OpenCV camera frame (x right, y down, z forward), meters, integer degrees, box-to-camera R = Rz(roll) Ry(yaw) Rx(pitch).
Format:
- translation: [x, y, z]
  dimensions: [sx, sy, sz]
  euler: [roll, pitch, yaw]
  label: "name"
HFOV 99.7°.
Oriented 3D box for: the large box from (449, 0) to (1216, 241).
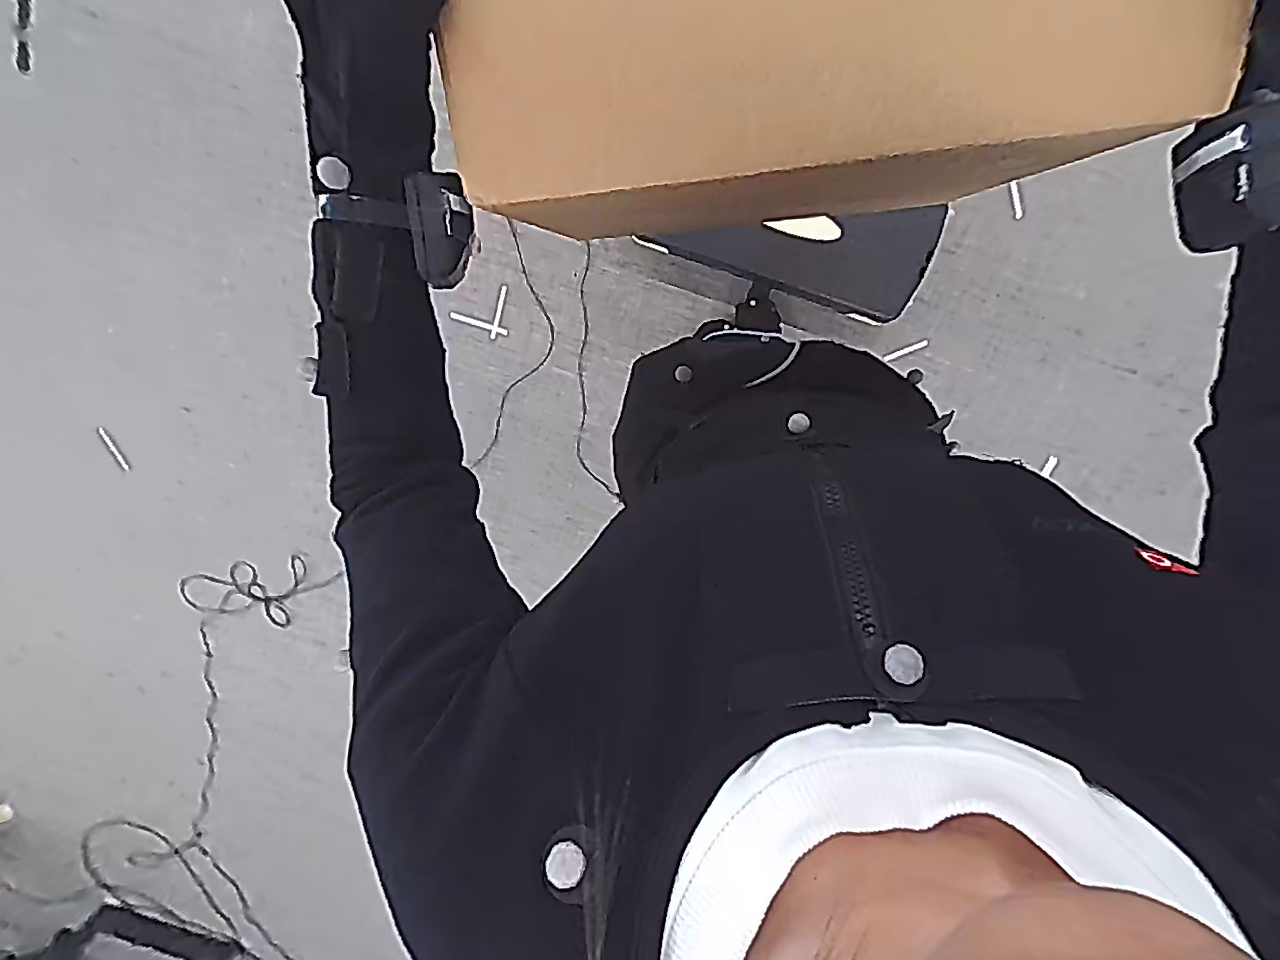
- translation: [0.093, -0.380, 0.400]
  dimensions: [0.408, 0.320, 0.320]
  euler: [-4, 110, 6]
  label: "large box"
